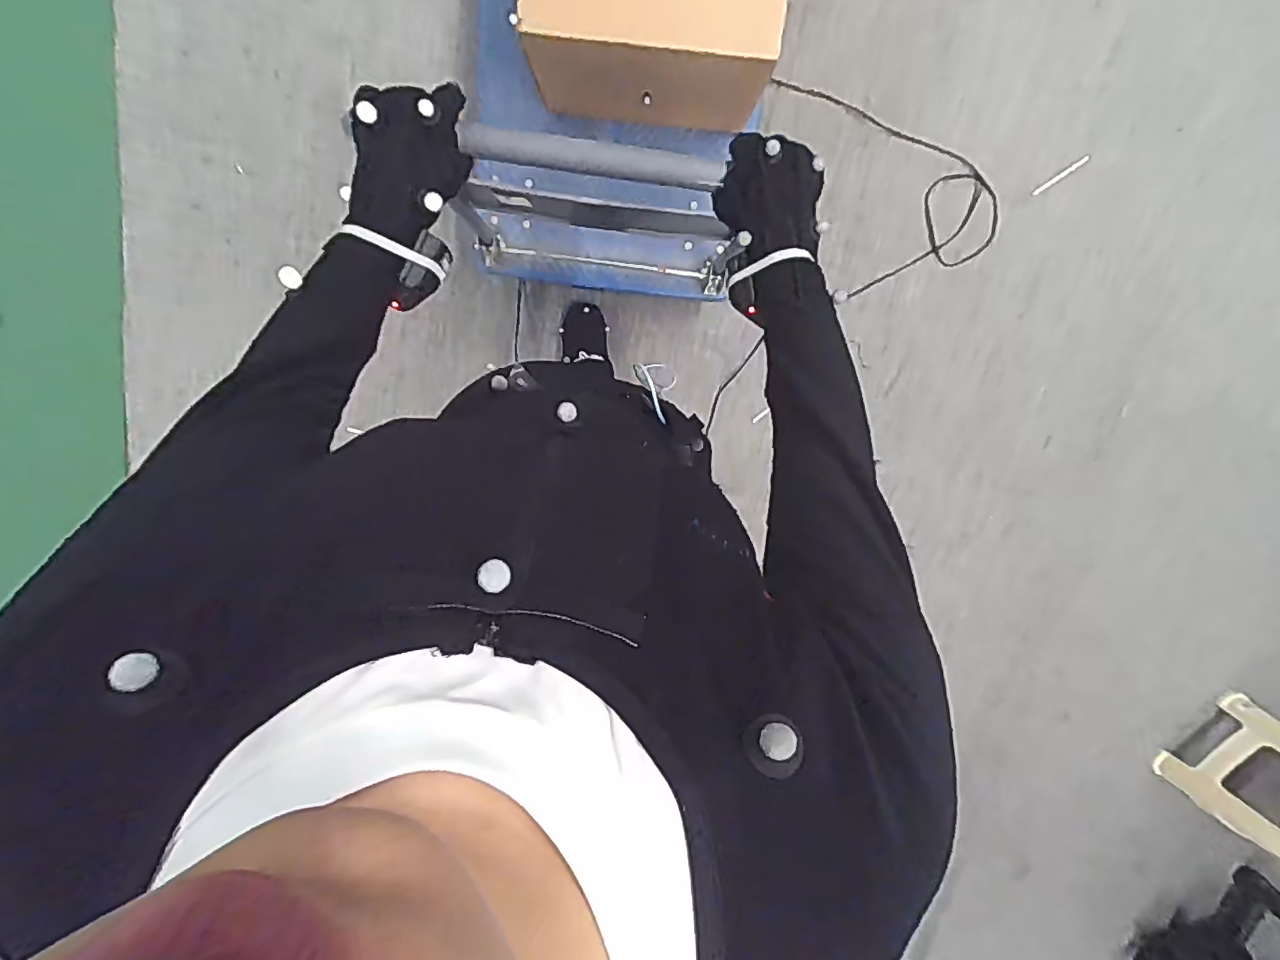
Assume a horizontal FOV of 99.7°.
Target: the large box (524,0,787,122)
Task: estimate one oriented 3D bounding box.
[{"bbox_3d":[0.035,-0.858,0.935,0.408,0.320,0.320,6,105,-1],"label":"large box"}]
